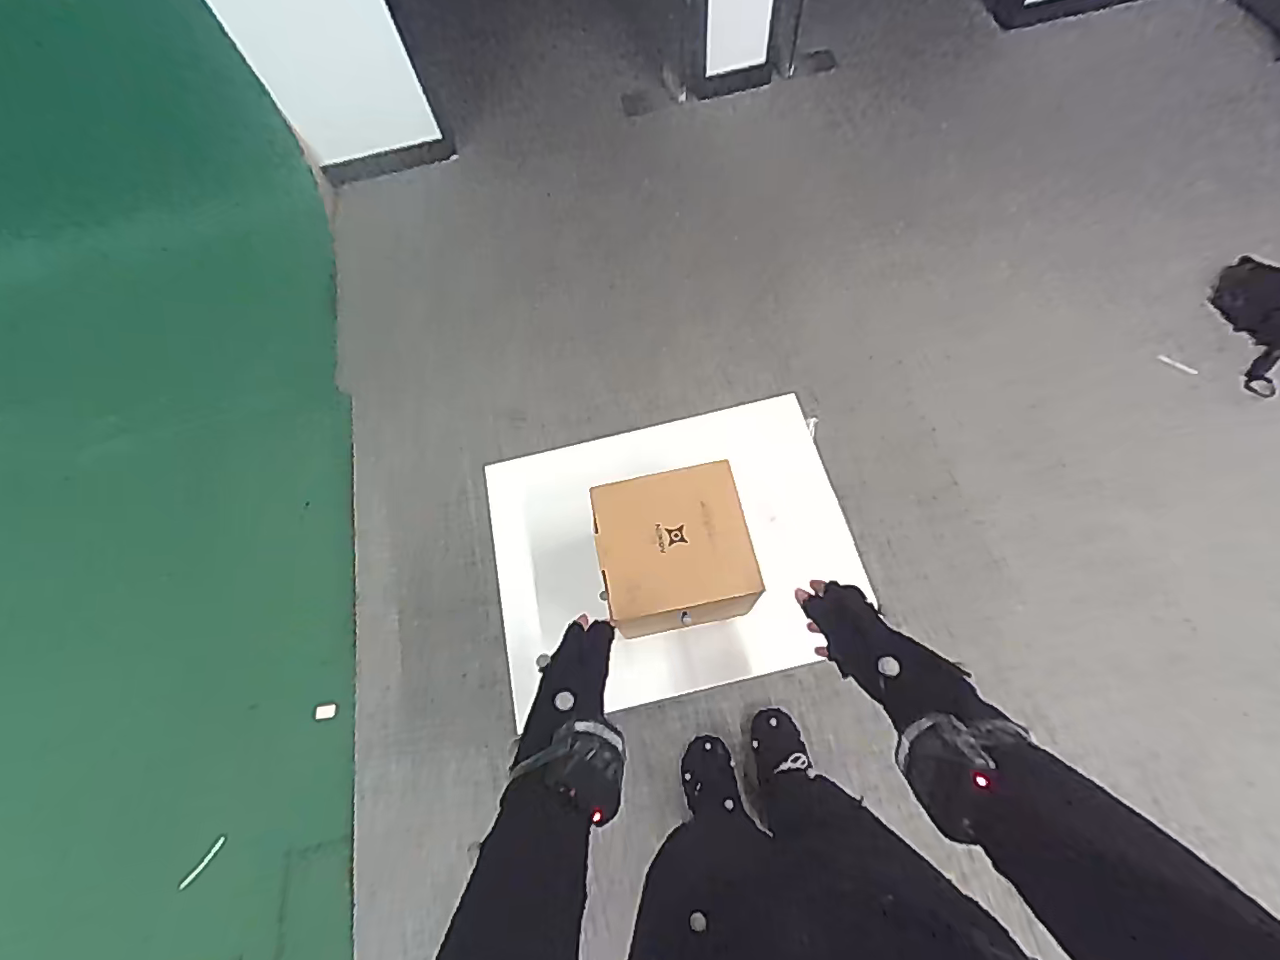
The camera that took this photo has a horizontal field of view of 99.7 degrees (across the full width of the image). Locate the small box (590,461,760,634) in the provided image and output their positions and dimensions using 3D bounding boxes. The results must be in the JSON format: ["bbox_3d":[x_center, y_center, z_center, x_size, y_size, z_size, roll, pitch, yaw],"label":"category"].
[{"bbox_3d":[0.042,0.097,0.706,0.179,0.176,0.168,-11,67,-1],"label":"small box"}]
